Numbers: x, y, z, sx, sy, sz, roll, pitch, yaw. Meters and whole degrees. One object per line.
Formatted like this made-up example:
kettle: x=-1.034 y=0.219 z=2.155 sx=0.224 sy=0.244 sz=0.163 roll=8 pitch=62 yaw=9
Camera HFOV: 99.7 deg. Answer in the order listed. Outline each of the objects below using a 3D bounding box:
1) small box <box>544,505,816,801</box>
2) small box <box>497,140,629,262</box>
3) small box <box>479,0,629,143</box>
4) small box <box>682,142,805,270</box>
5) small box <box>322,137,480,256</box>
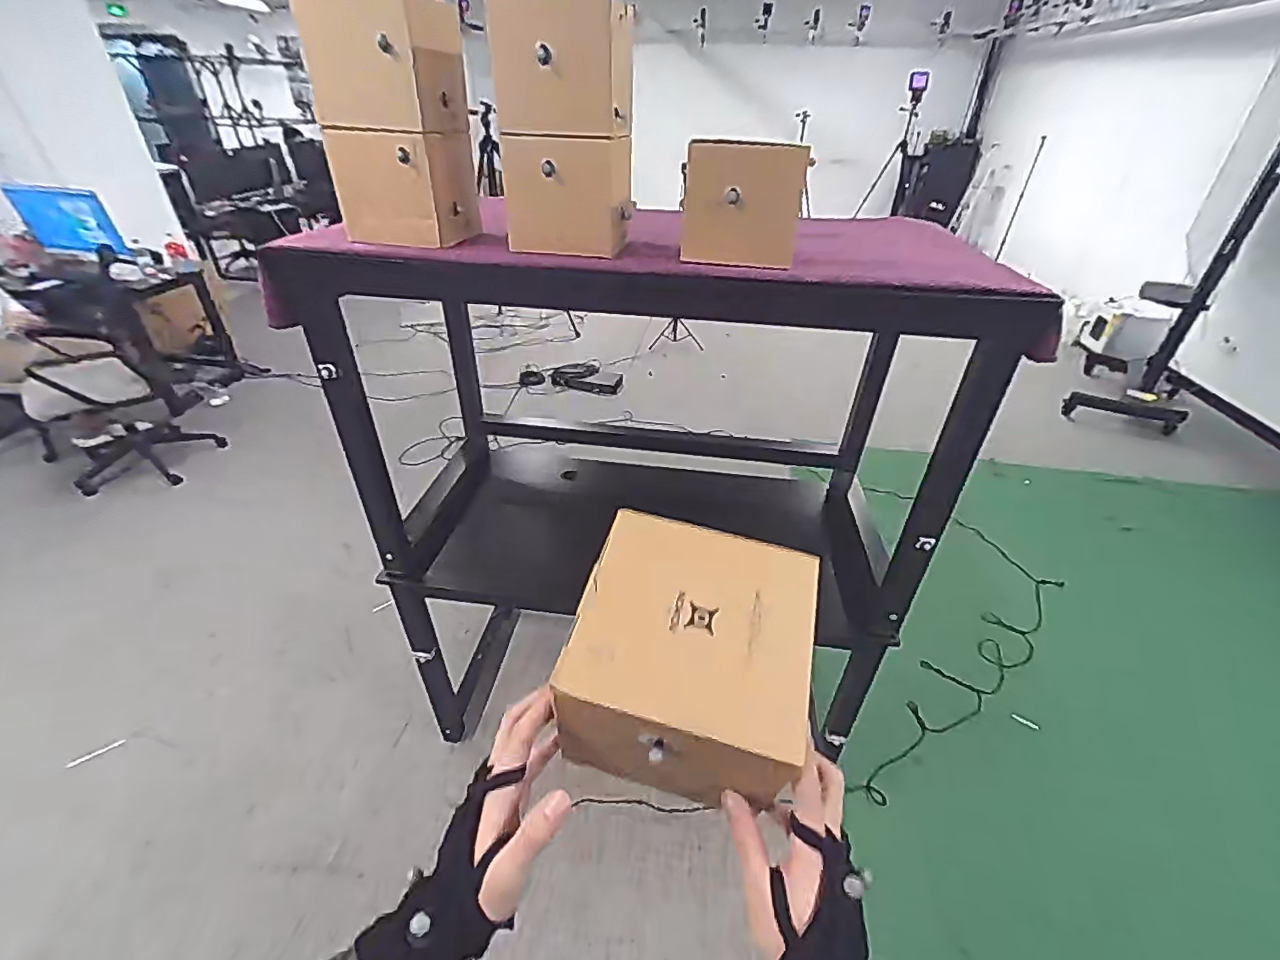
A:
small box: x=0.037 y=0.151 z=0.466 sx=0.179 sy=0.176 sz=0.168 roll=13 pitch=50 yaw=10
small box: x=-0.118 y=-0.471 z=0.909 sx=0.179 sy=0.176 sz=0.168 roll=6 pitch=35 yaw=8
small box: x=-0.116 y=-0.607 z=0.816 sx=0.179 sy=0.176 sz=0.168 roll=5 pitch=34 yaw=8
small box: x=0.163 y=-0.445 z=0.876 sx=0.179 sy=0.176 sz=0.168 roll=6 pitch=35 yaw=9
small box: x=-0.398 y=-0.492 z=0.935 sx=0.179 sy=0.176 sz=0.168 roll=7 pitch=34 yaw=7
